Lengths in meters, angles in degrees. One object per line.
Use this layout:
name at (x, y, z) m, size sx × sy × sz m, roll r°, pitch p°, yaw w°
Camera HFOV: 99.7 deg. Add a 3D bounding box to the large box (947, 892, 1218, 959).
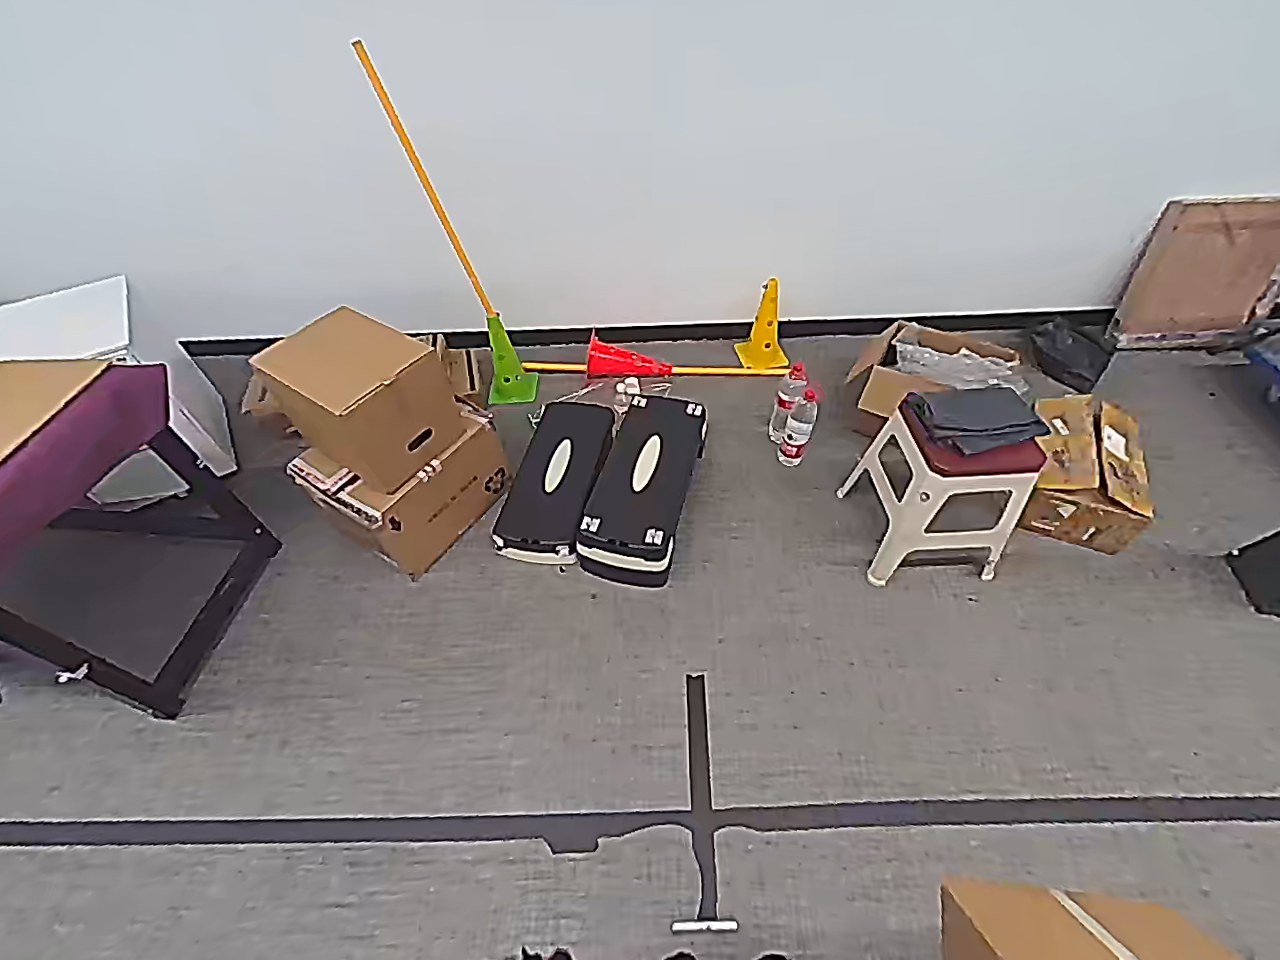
large box at (0.574, 0.739, 0.573) m, size 0.320 × 0.408 × 0.320 m, roll 2°, pitch 81°, yaw 6°
